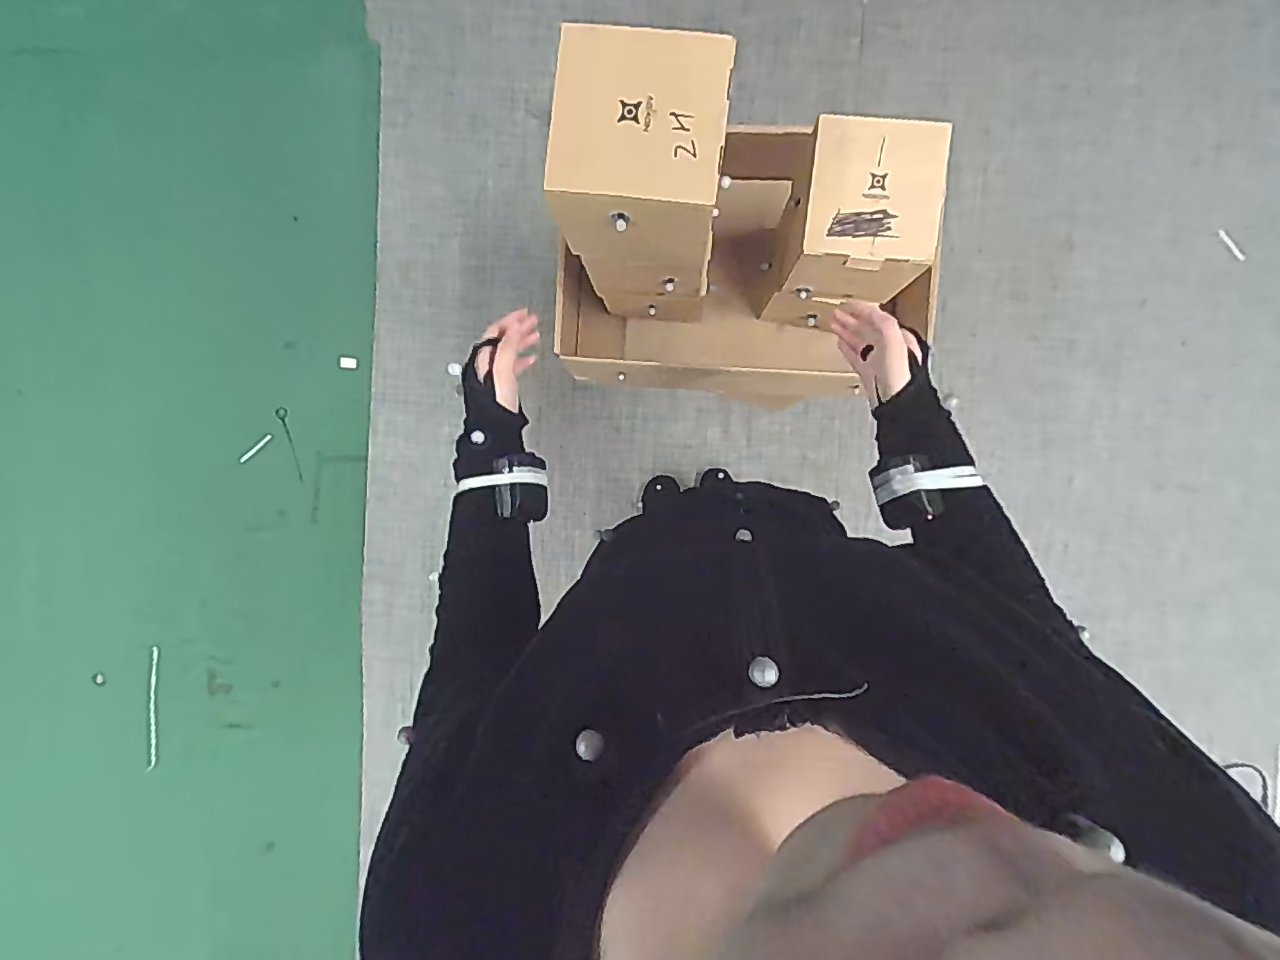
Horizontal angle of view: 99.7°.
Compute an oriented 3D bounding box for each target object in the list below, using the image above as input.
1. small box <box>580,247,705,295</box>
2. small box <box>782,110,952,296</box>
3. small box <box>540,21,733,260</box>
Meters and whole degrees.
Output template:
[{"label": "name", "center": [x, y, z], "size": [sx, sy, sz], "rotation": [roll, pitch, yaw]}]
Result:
[{"label": "small box", "center": [0.015, -0.379, 0.778], "size": [0.168, 0.176, 0.179], "rotation": [5, 92, 4]}, {"label": "small box", "center": [0.301, -0.371, 0.754], "size": [0.168, 0.176, 0.179], "rotation": [7, 92, 4]}, {"label": "small box", "center": [0.001, -0.366, 0.614], "size": [0.179, 0.176, 0.168], "rotation": [8, 93, 4]}]
